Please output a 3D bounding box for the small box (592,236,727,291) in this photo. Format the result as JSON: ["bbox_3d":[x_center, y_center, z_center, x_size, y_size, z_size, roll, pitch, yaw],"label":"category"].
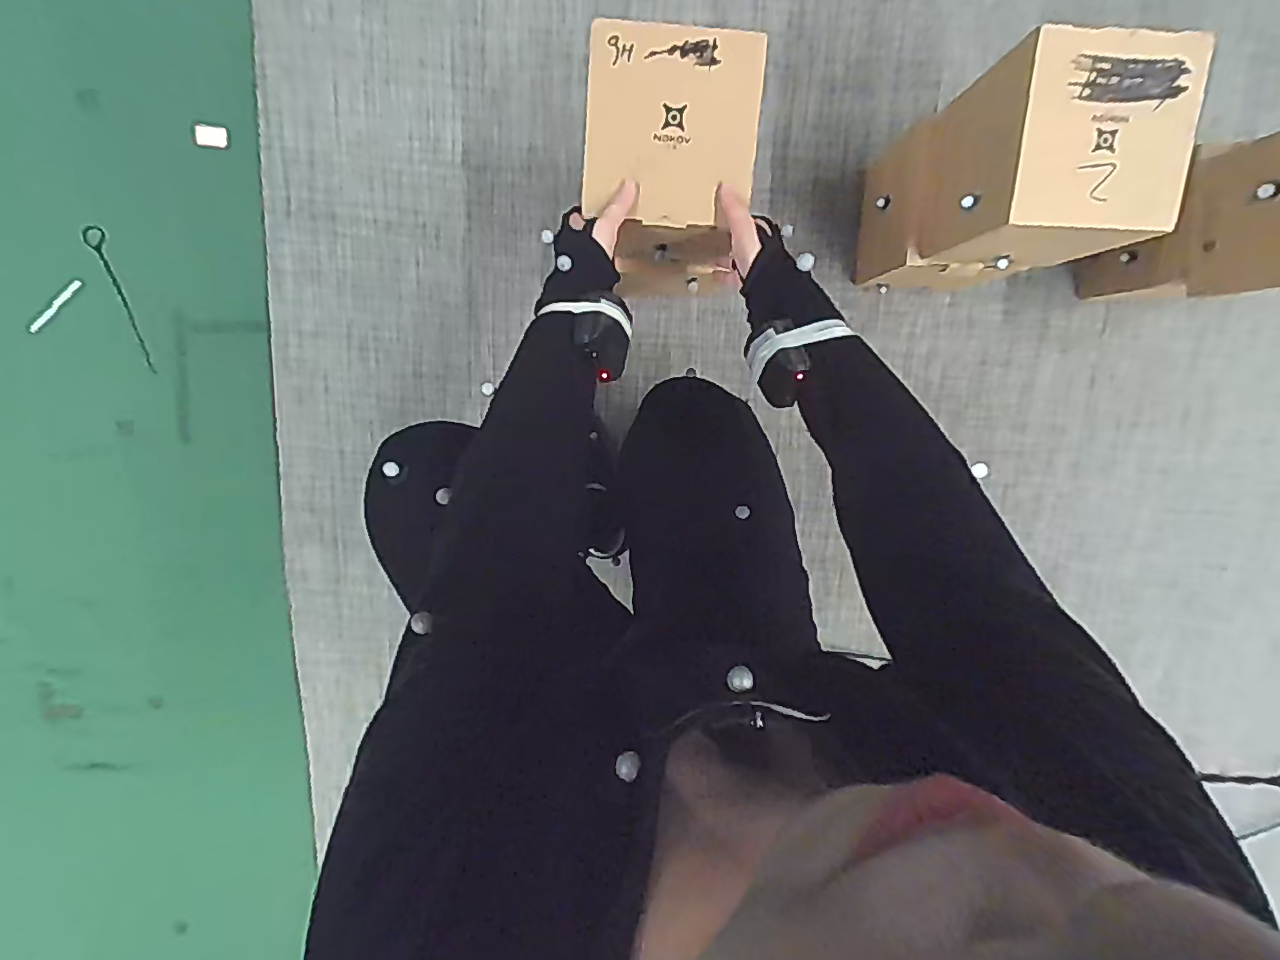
[{"bbox_3d":[0.025,-0.367,0.764,0.179,0.176,0.168,1,100,0],"label":"small box"}]

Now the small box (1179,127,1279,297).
[{"bbox_3d":[0.769,-0.307,0.604,0.179,0.176,0.168,-6,101,1],"label":"small box"}]

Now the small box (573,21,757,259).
[{"bbox_3d":[0.023,-0.354,0.600,0.168,0.176,0.179,5,102,-1],"label":"small box"}]

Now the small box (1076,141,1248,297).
[{"bbox_3d":[0.767,-0.354,0.761,0.179,0.176,0.168,-1,102,0],"label":"small box"}]
